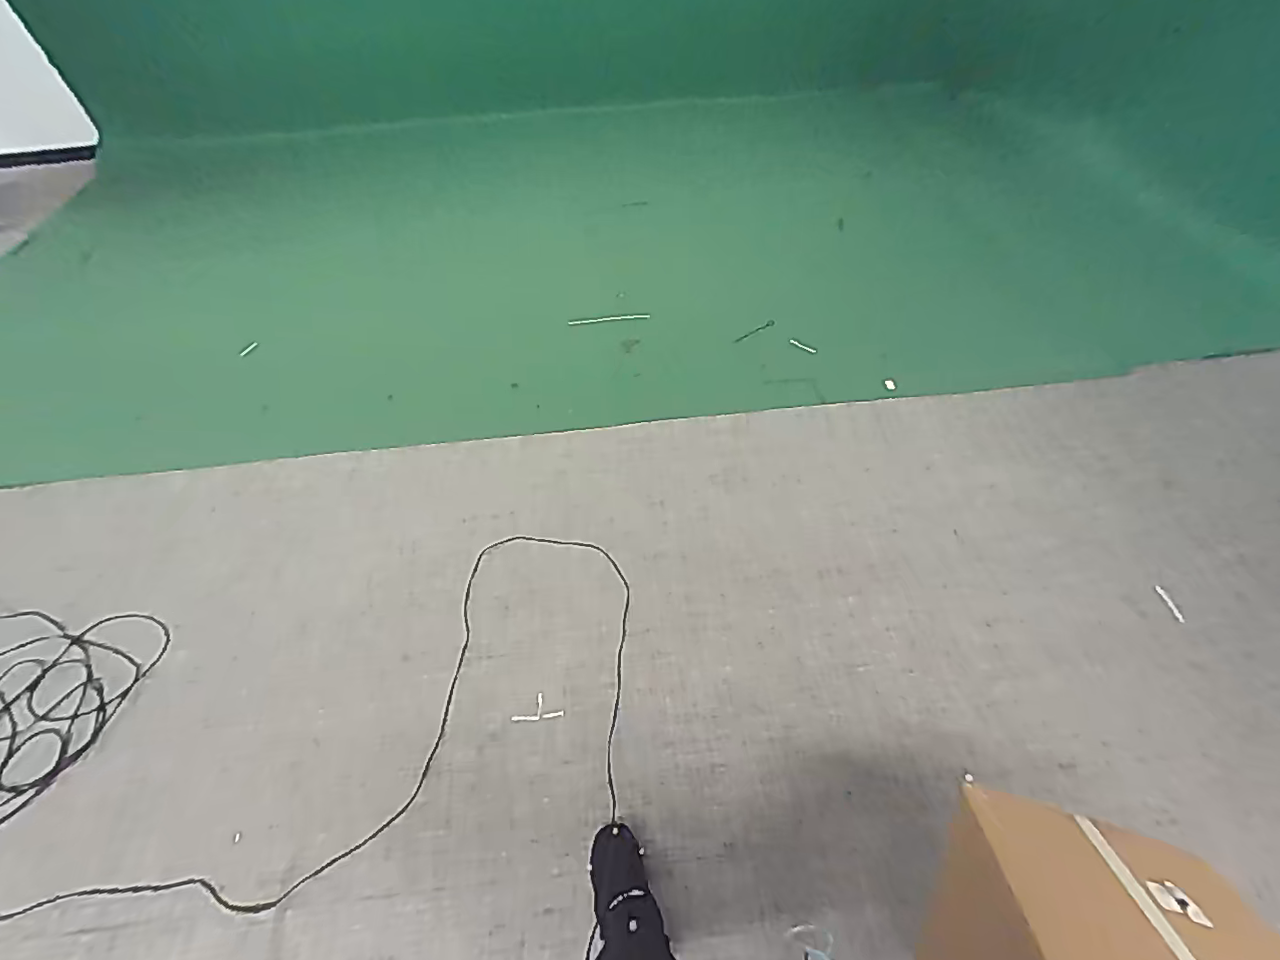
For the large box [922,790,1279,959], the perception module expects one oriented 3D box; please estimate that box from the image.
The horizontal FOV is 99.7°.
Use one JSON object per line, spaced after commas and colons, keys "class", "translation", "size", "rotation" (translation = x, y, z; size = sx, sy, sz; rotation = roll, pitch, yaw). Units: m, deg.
{"class": "large box", "translation": [0.562, 0.663, 0.620], "size": [0.320, 0.408, 0.320], "rotation": [12, 97, 15]}
